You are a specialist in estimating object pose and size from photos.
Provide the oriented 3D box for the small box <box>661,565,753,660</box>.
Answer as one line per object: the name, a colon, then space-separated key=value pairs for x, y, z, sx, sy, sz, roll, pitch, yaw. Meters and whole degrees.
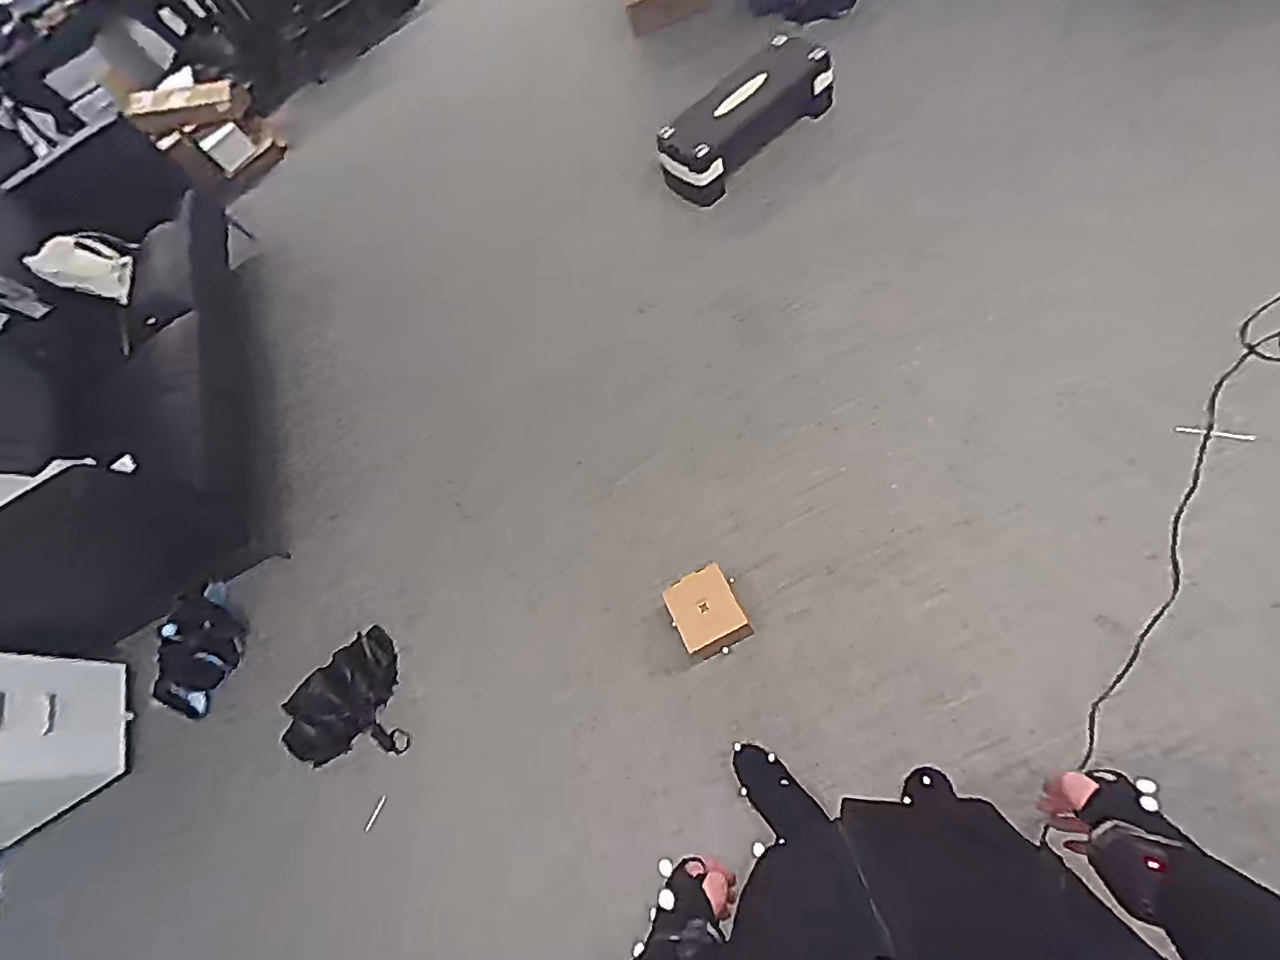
small box: x=0.179 y=0.354 z=1.422 sx=0.168 sy=0.176 sz=0.179 roll=-30 pitch=62 yaw=5
